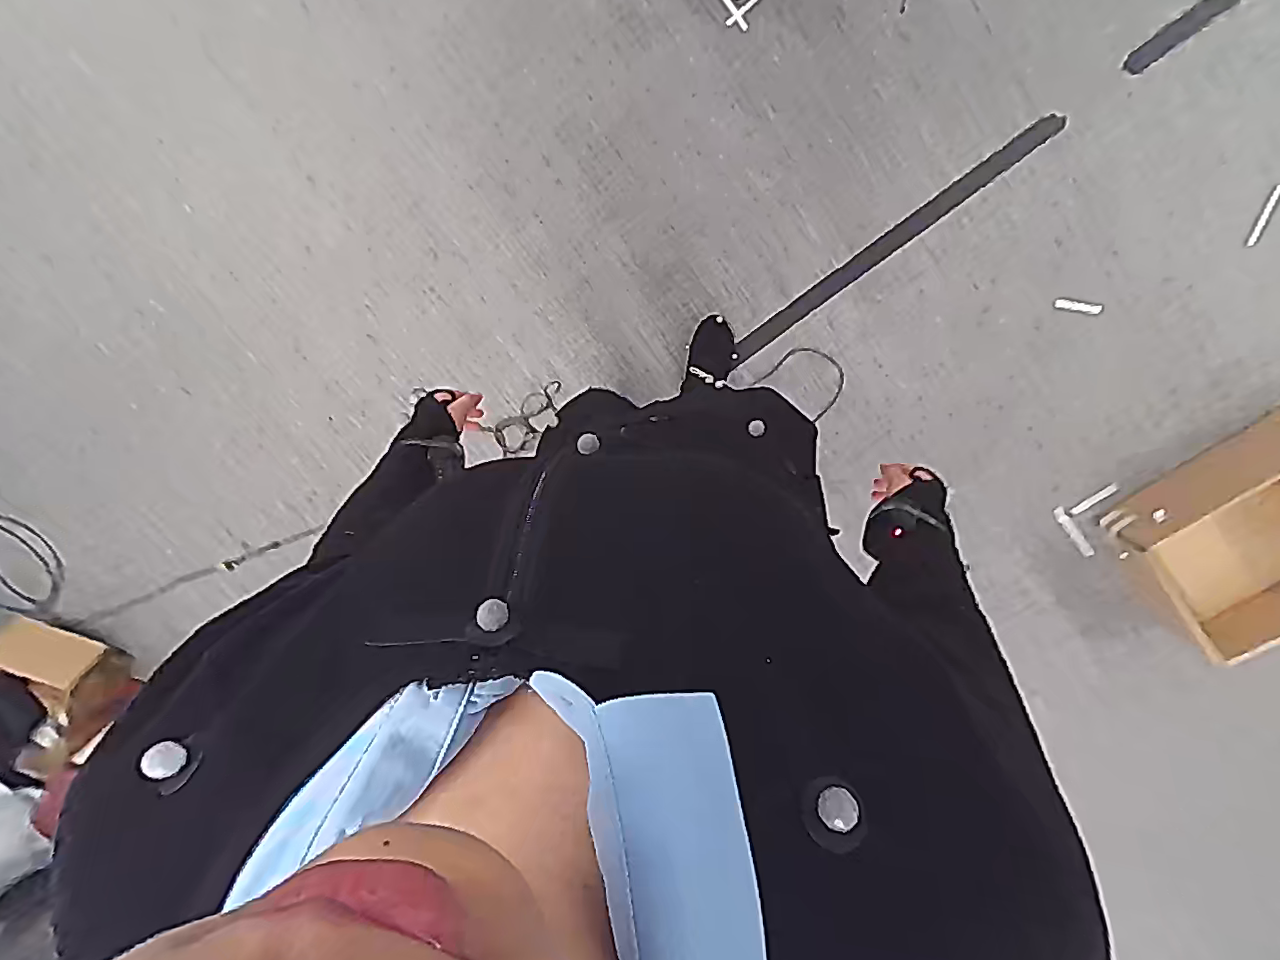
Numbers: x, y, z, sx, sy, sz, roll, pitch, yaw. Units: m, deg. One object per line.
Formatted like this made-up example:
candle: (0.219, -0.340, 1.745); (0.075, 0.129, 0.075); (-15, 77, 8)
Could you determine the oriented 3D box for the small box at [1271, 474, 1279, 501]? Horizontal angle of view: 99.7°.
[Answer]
small box: (1.629, 0.040, 1.231); (0.168, 0.176, 0.179); (-39, 99, 16)
